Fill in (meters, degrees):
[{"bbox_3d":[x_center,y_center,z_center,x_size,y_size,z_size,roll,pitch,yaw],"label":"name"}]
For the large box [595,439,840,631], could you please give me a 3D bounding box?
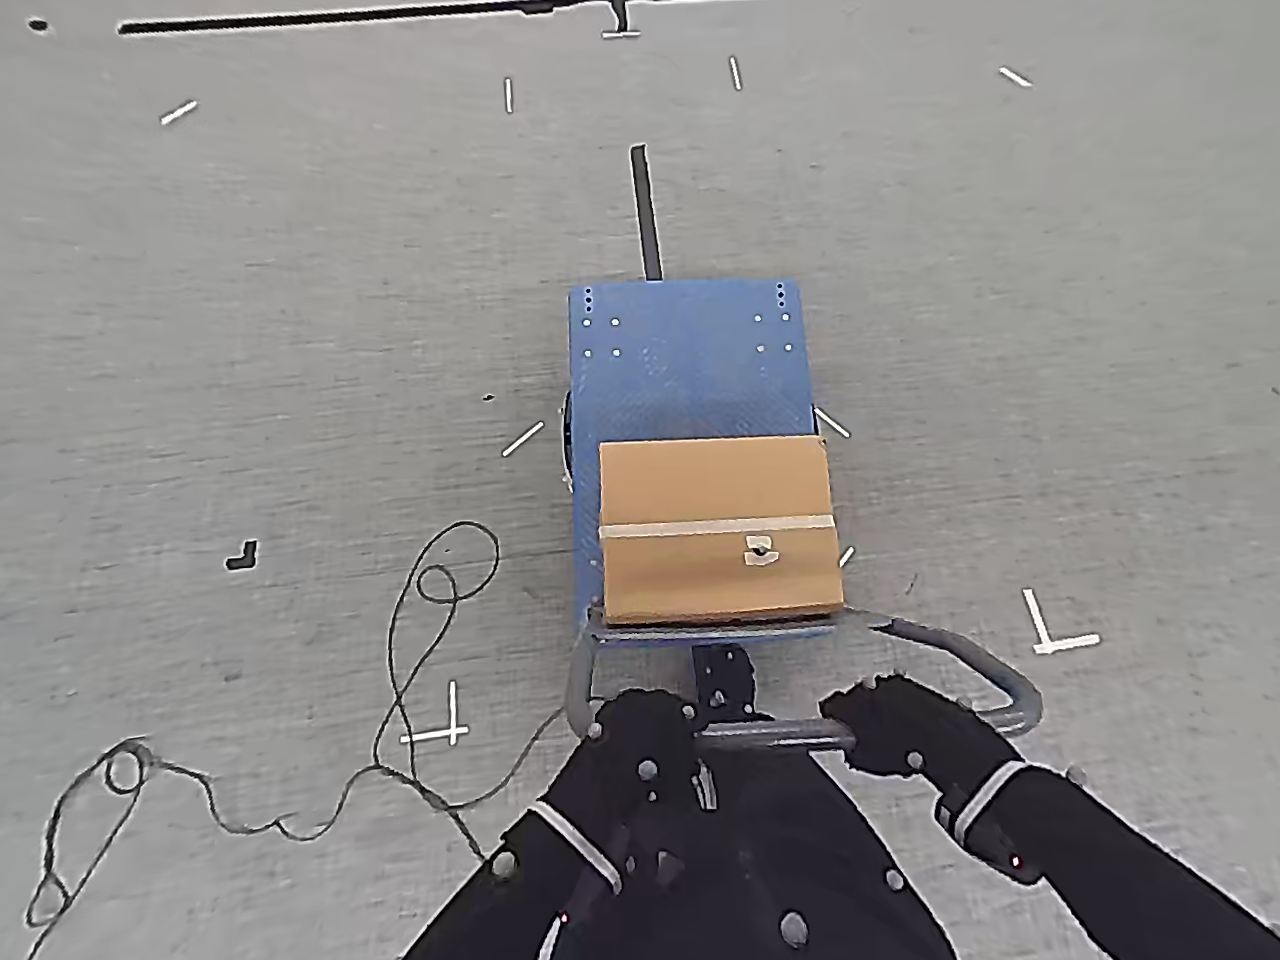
[{"bbox_3d":[0.122,0.117,1.072,0.408,0.320,0.320,-3,79,-3],"label":"large box"}]
